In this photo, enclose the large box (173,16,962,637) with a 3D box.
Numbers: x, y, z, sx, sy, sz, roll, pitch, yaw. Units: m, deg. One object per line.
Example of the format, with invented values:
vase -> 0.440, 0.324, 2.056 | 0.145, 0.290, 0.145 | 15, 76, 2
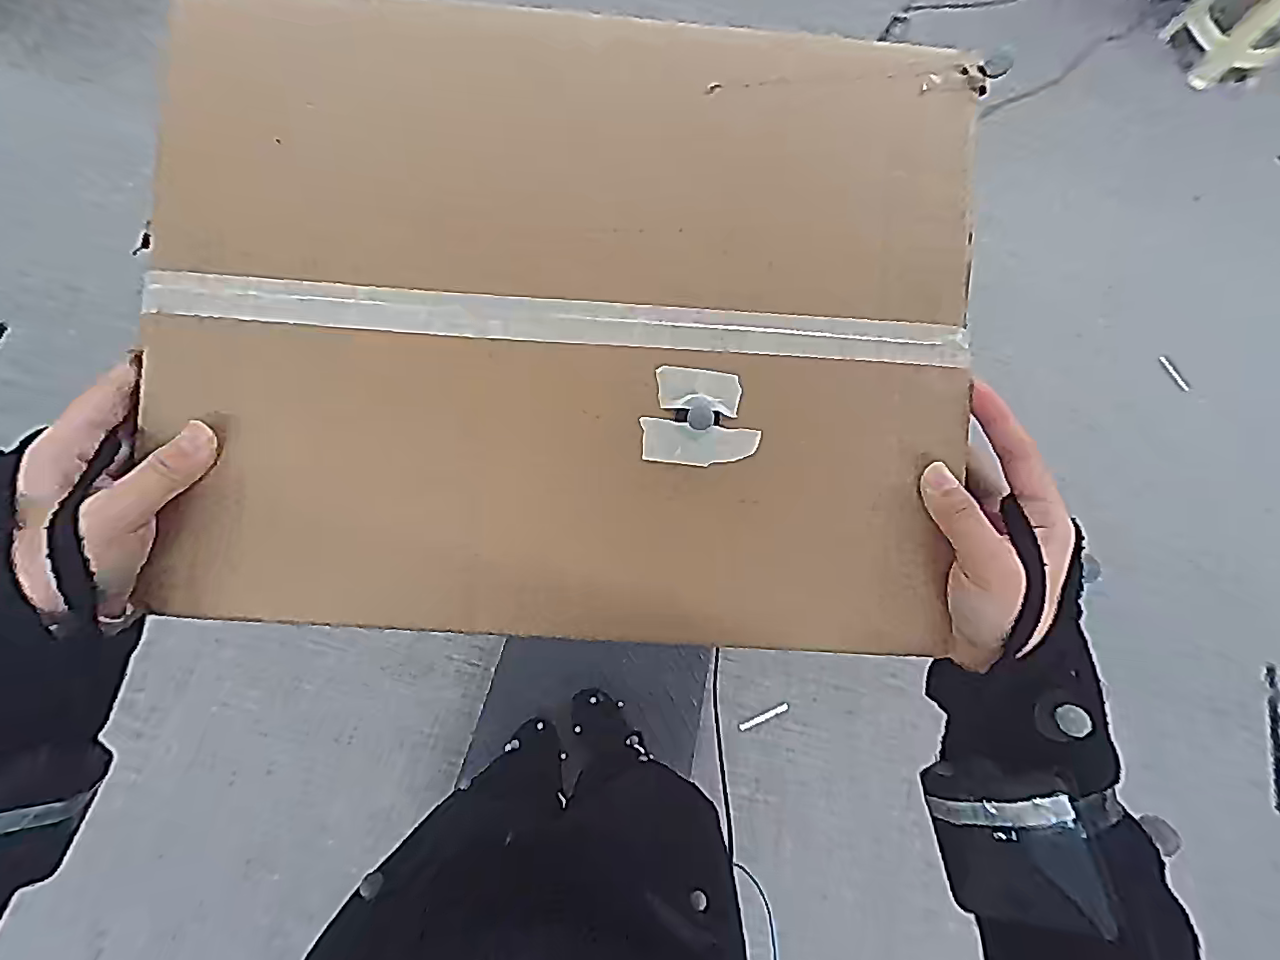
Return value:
large box -> -0.037, -0.075, 0.434 | 0.408, 0.320, 0.320 | 4, 89, -2
